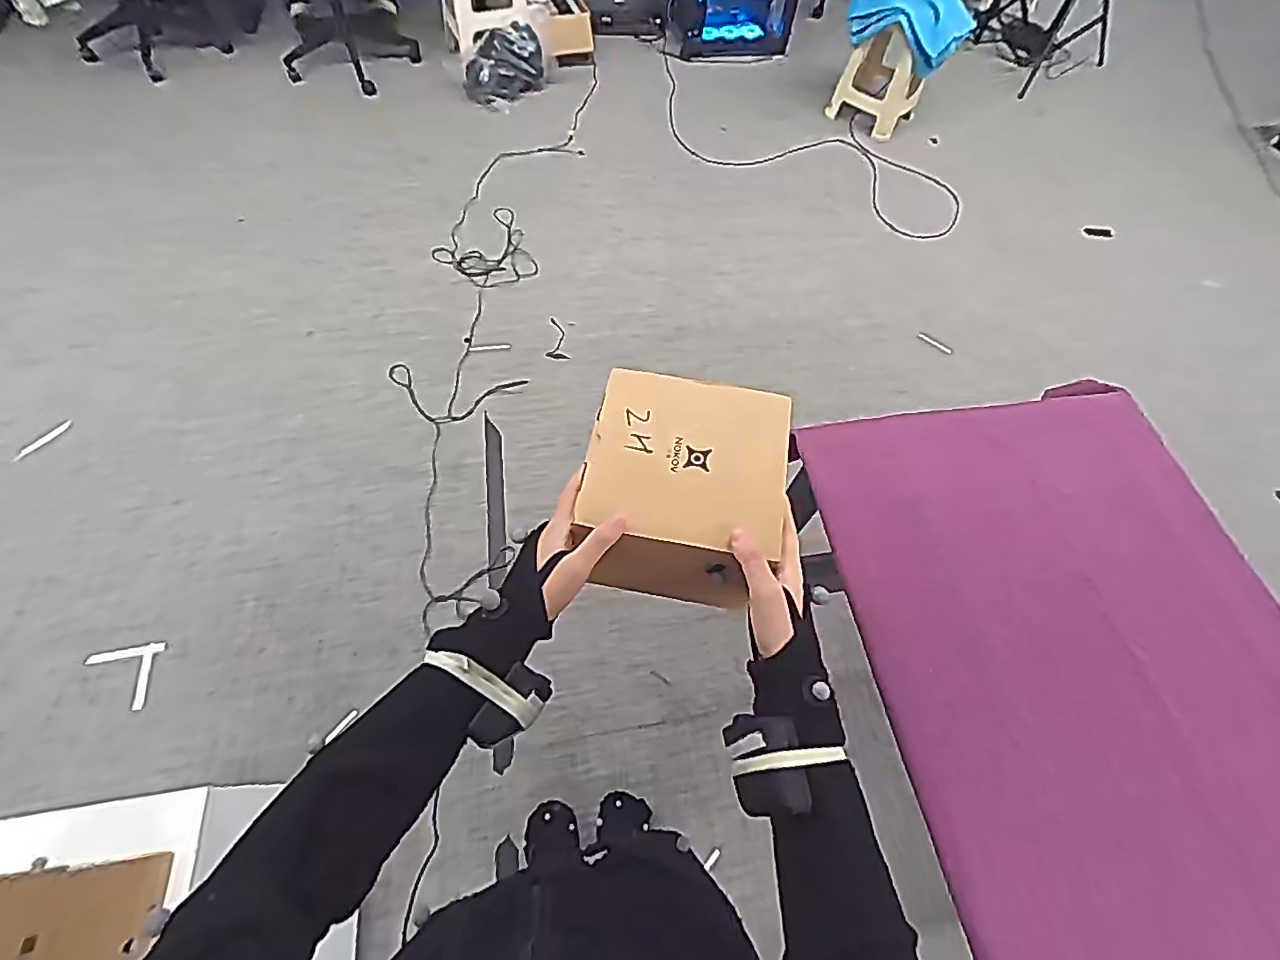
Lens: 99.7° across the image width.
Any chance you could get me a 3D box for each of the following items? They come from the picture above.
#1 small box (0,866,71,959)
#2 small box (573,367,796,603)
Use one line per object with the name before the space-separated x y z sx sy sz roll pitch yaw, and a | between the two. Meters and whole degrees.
small box | -0.646 0.430 0.434 0.179 0.176 0.168 -4 63 -6
small box | 0.043 0.015 0.541 0.179 0.176 0.168 10 63 4
